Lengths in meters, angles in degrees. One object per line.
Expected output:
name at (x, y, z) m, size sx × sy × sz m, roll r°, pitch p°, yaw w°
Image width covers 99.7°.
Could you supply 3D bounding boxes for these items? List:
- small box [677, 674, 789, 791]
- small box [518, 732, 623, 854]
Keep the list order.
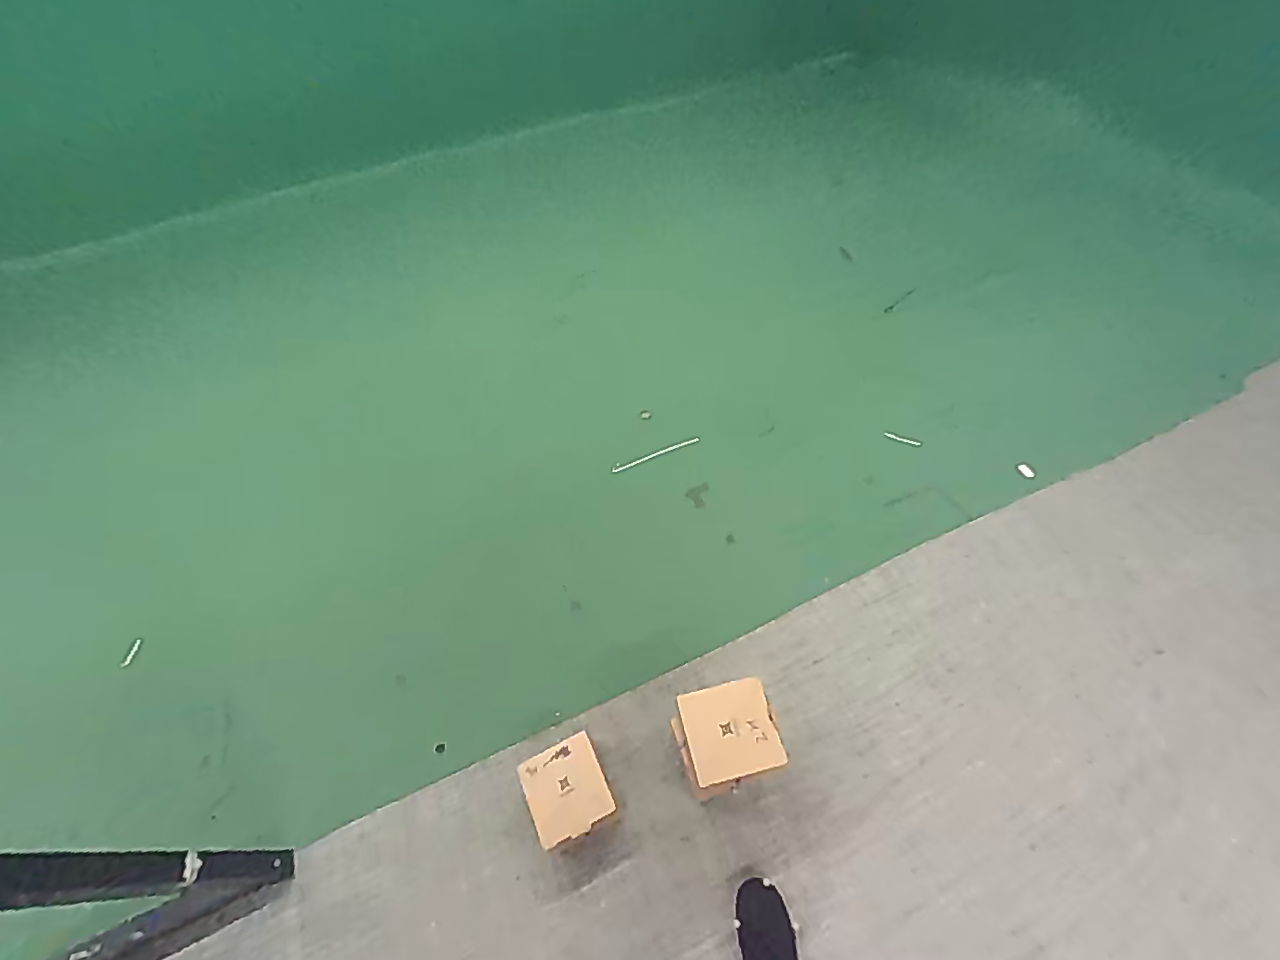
small box at (0.179, 0.514, 1.091) m, size 0.179 × 0.176 × 0.168 m, roll -13°, pitch 57°, yaw -5°
small box at (-0.146, 0.690, 1.194) m, size 0.168 × 0.176 × 0.179 m, roll -24°, pitch 57°, yaw -12°
